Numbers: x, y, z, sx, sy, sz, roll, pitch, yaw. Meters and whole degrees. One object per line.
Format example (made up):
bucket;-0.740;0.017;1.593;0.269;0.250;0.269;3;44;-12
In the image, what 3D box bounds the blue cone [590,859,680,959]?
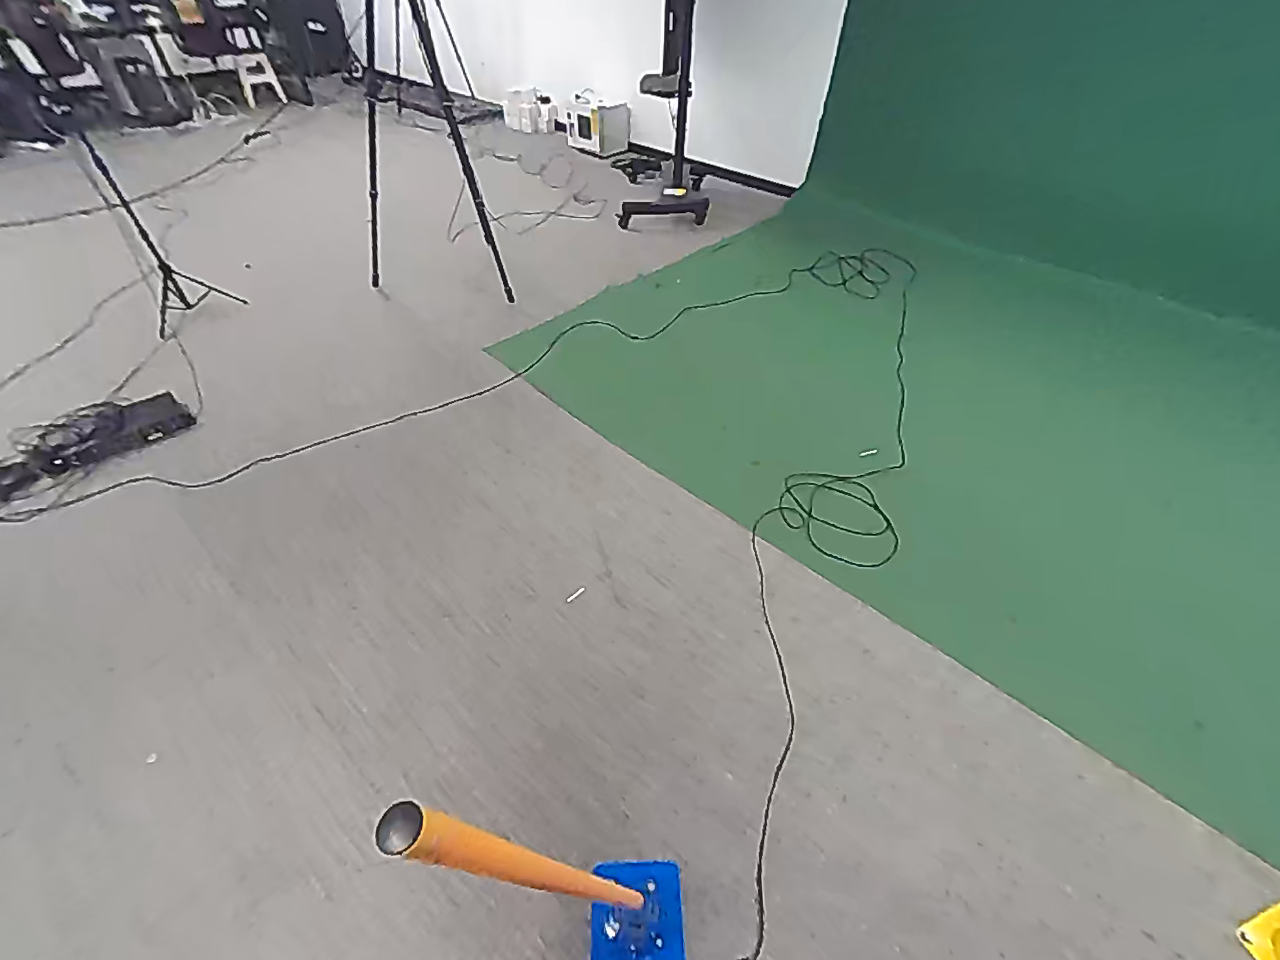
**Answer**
blue cone;-0.014;0.826;1.042;0.193;0.380;0.192;-3;47;-2
